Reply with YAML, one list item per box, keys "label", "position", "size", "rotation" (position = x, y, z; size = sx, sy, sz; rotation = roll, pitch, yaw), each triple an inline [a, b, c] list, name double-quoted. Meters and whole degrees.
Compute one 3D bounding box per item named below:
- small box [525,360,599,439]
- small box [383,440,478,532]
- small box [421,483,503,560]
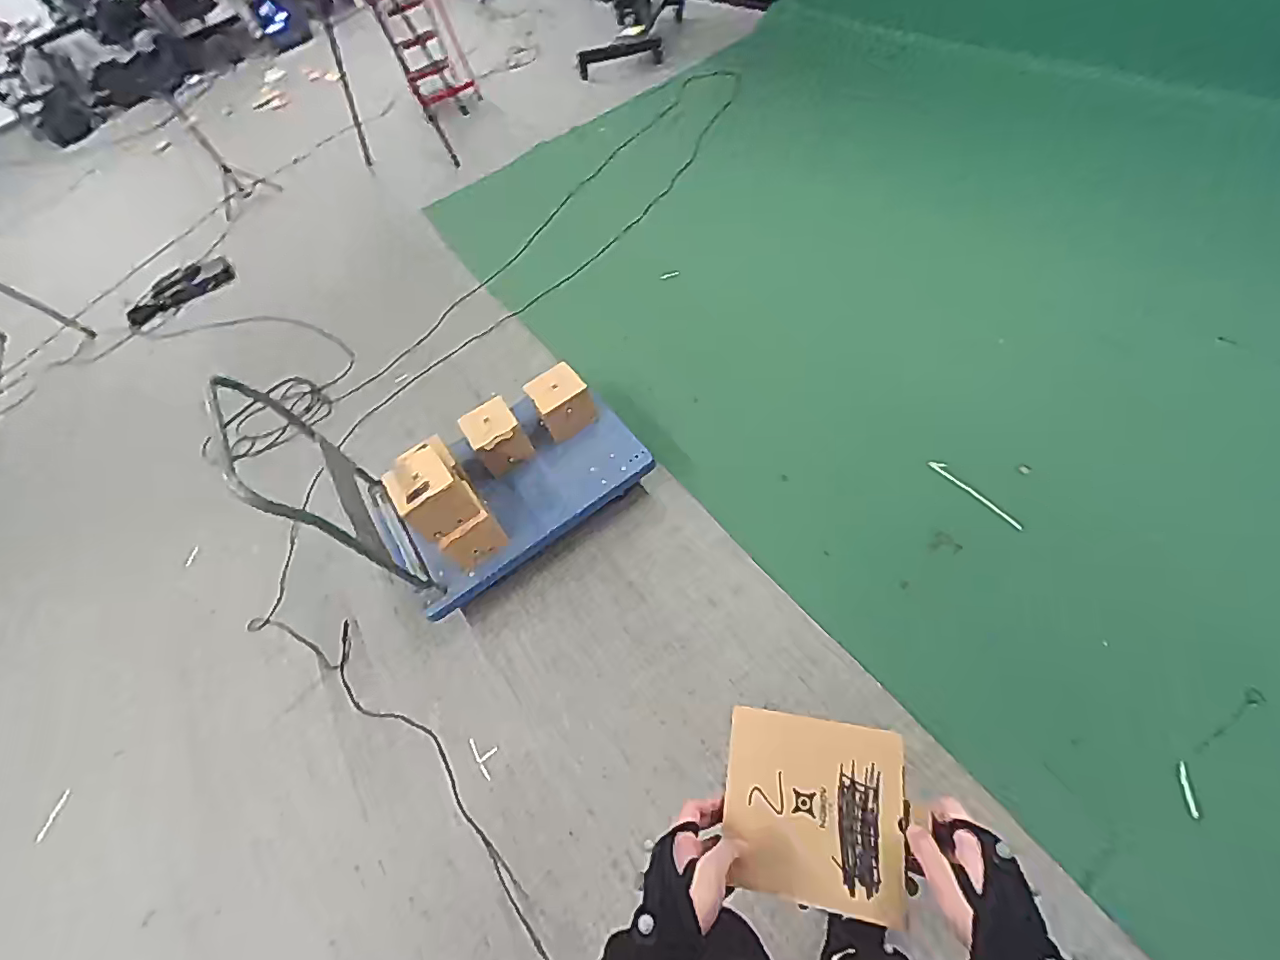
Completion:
- label: "small box"
  position: [-0.265, -0.274, 1.870]
  size: [0.179, 0.176, 0.168]
  rotation: [-34, 57, -9]
- label: "small box"
  position: [-0.592, 0.027, 1.545]
  size: [0.168, 0.176, 0.179]
  rotation: [-34, 55, -11]
- label: "small box"
  position: [-0.545, 0.135, 1.673]
  size: [0.179, 0.176, 0.168]
  rotation: [-10, 57, 7]
